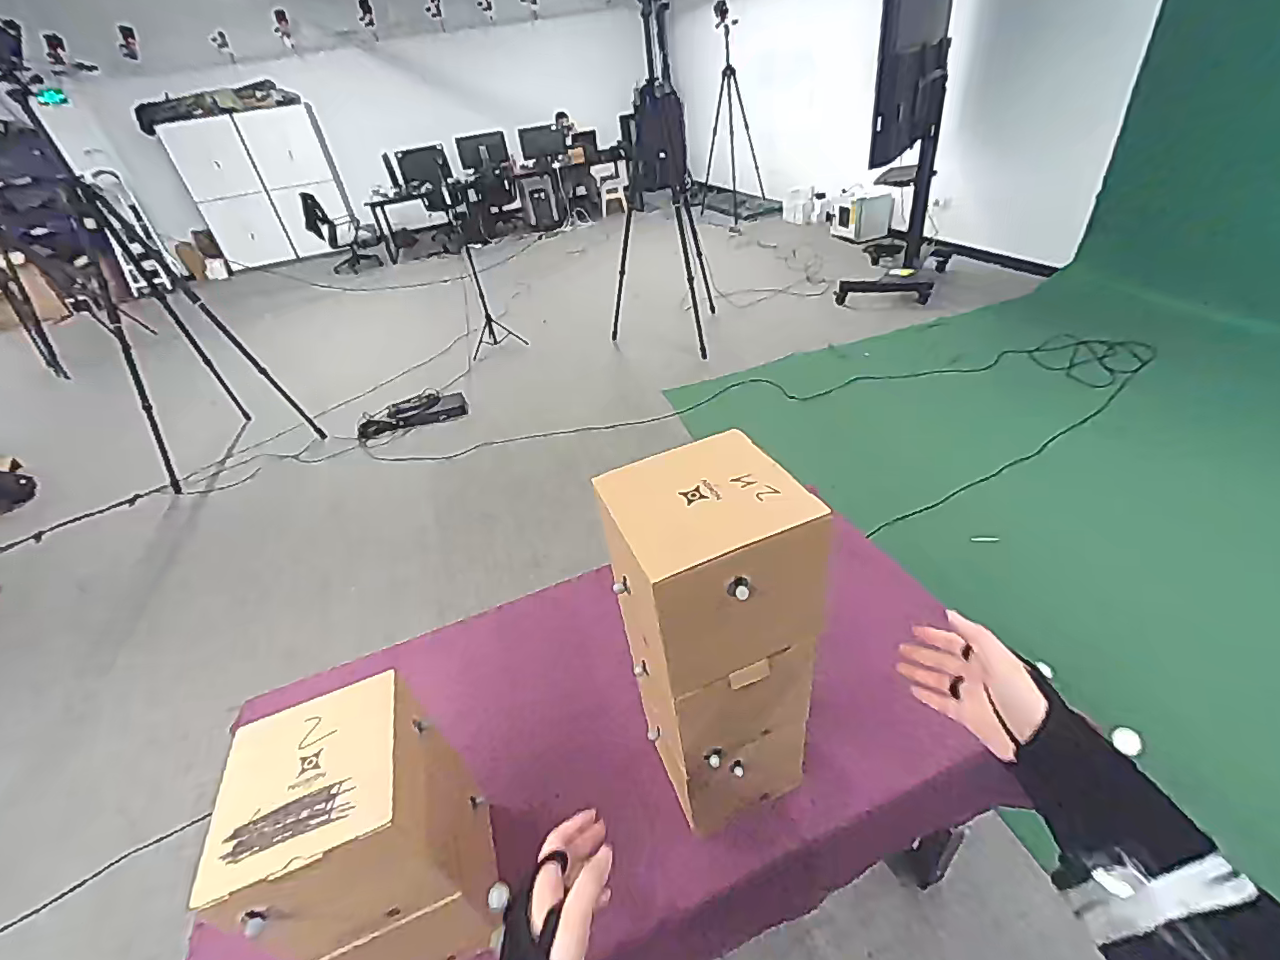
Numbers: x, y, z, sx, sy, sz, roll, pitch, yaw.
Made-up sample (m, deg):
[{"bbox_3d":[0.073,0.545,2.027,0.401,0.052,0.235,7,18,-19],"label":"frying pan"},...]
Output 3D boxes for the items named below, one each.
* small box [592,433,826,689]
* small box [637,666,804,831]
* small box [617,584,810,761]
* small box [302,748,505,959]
[{"bbox_3d":[0.068,0.082,0.560,0.179,0.176,0.168,-19,38,-12],"label":"small box"},{"bbox_3d":[0.109,0.341,0.758,0.168,0.176,0.179,-20,37,-11],"label":"small box"},{"bbox_3d":[0.087,0.210,0.662,0.168,0.176,0.179,-19,37,-13],"label":"small box"},{"bbox_3d":[-0.278,0.479,0.666,0.168,0.176,0.179,-19,38,-11],"label":"small box"}]
